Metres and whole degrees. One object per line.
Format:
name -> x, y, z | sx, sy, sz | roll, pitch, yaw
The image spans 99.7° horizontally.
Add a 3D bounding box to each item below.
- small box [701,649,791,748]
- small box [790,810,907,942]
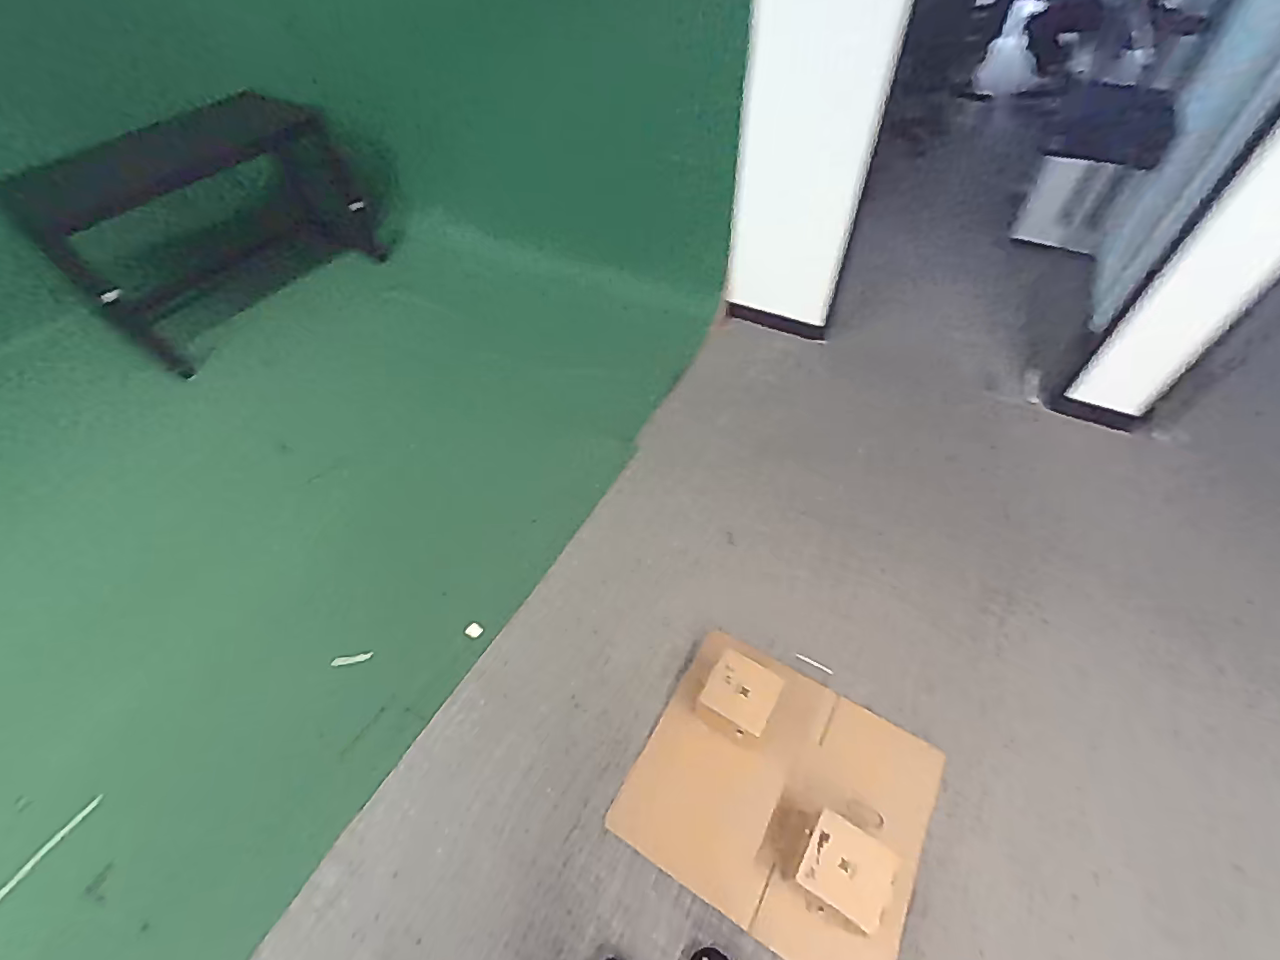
small box -> 0.277, 0.587, 1.441 | 0.179, 0.176, 0.168 | 26, 58, 22
small box -> 0.459, 0.880, 1.212 | 0.179, 0.176, 0.168 | 27, 59, 22
